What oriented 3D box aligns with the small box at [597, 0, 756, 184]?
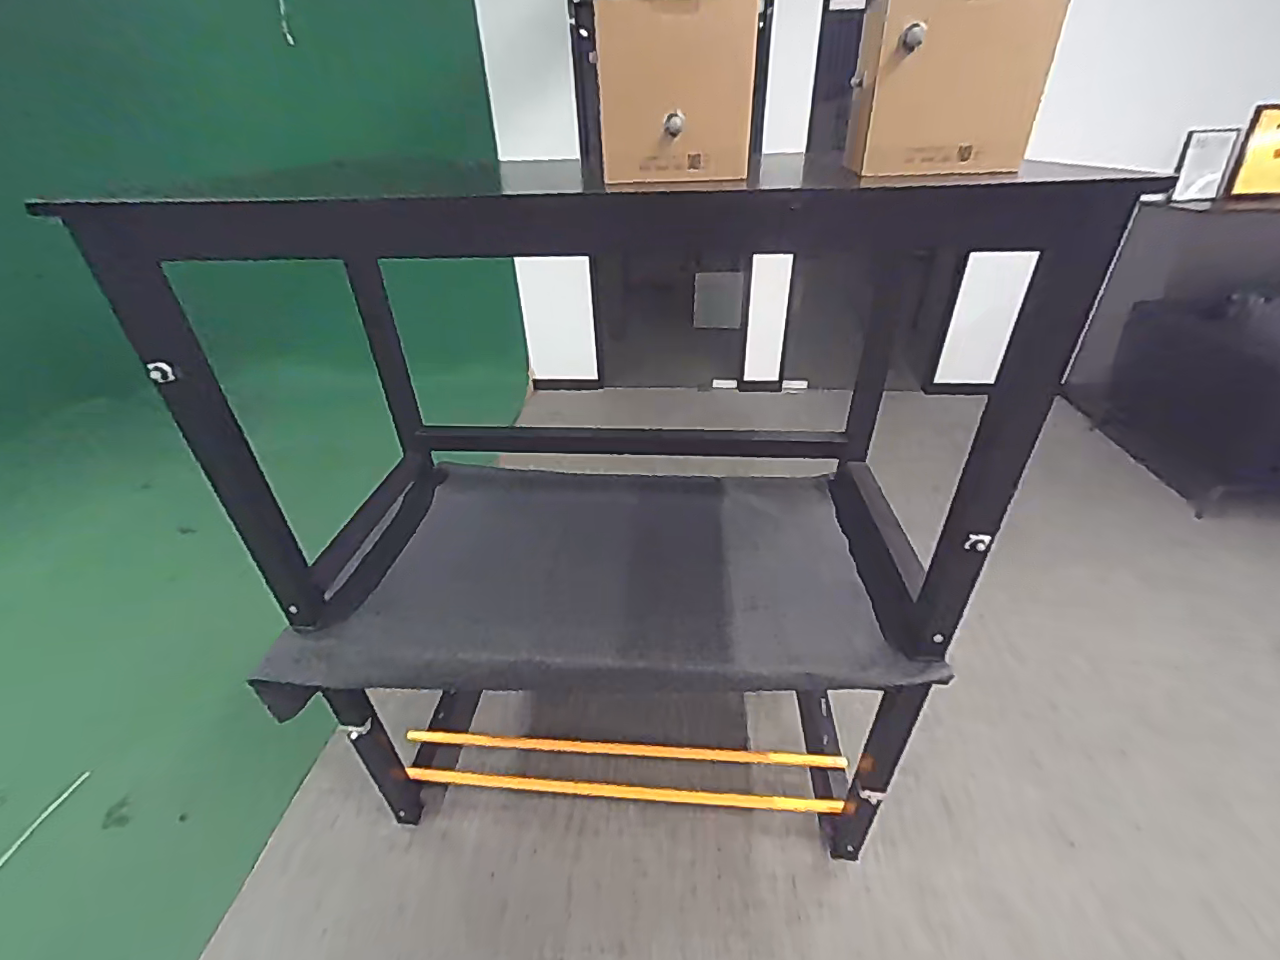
[{"bbox_3d":[0.040,-0.464,0.660,0.168,0.176,0.179,-2,33,1],"label":"small box"}]
